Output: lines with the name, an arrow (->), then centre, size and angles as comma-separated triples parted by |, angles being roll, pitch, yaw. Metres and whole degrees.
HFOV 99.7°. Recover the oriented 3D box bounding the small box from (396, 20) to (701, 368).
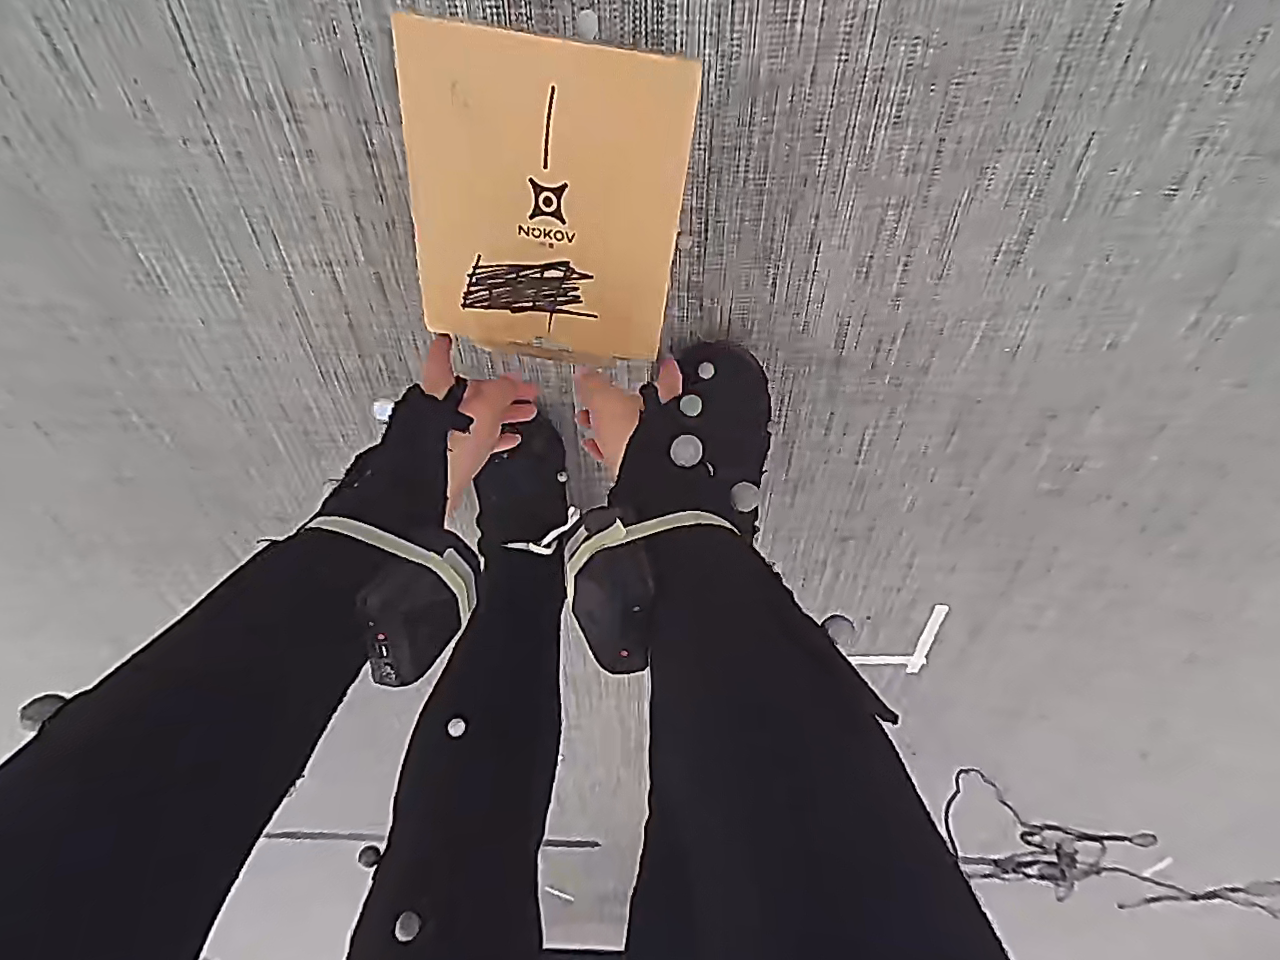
small box -> -0.055, -0.207, 0.397 | 0.168, 0.176, 0.179 | 7, 127, -4
